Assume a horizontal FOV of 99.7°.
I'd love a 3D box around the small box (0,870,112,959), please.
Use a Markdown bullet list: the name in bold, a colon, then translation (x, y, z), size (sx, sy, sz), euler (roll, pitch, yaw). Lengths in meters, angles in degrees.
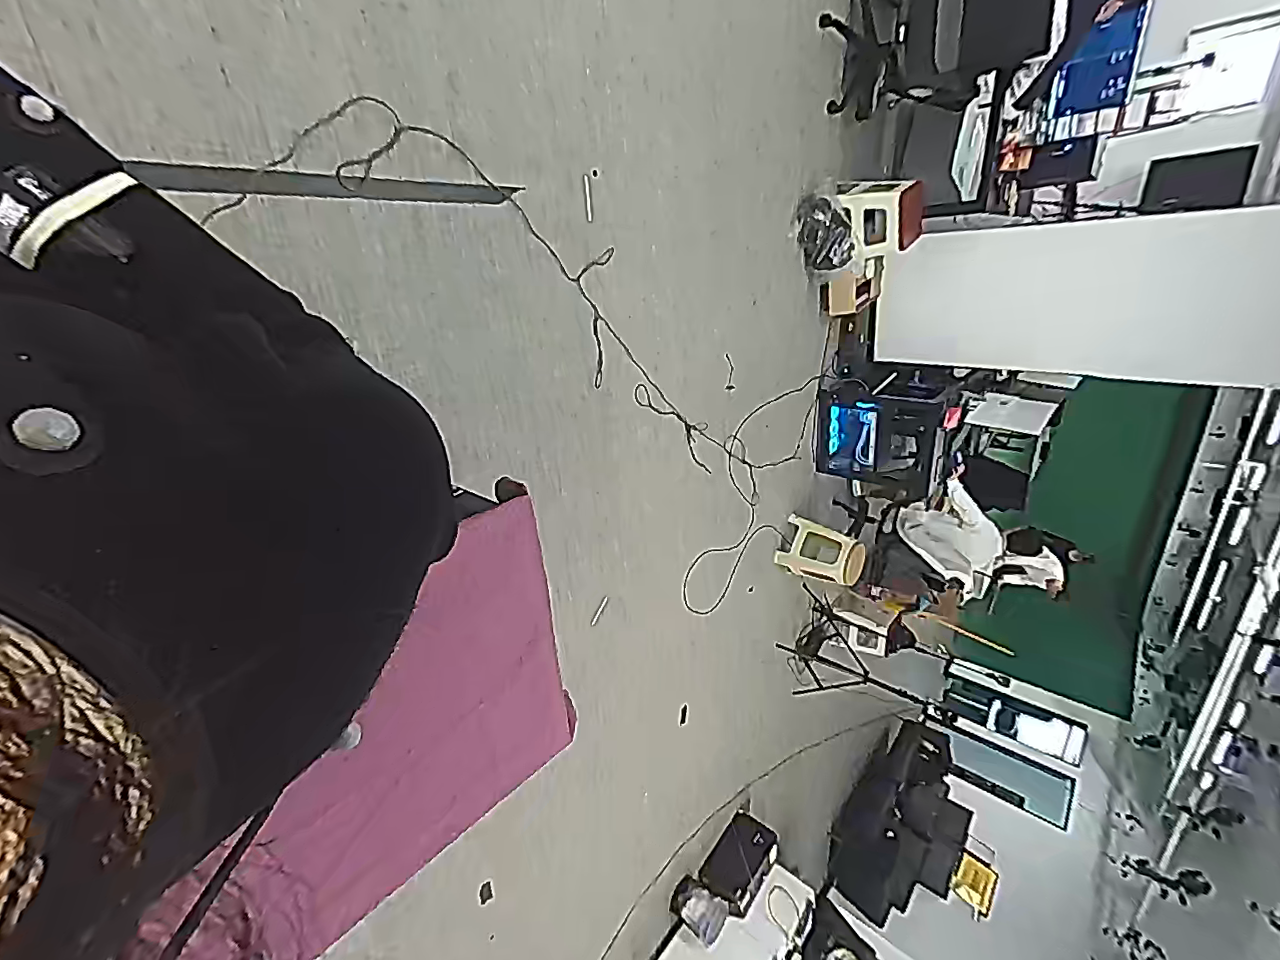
- **small box**: translation (-0.654, 0.549, 0.529), size (0.179, 0.176, 0.168), euler (-28, 122, -42)
